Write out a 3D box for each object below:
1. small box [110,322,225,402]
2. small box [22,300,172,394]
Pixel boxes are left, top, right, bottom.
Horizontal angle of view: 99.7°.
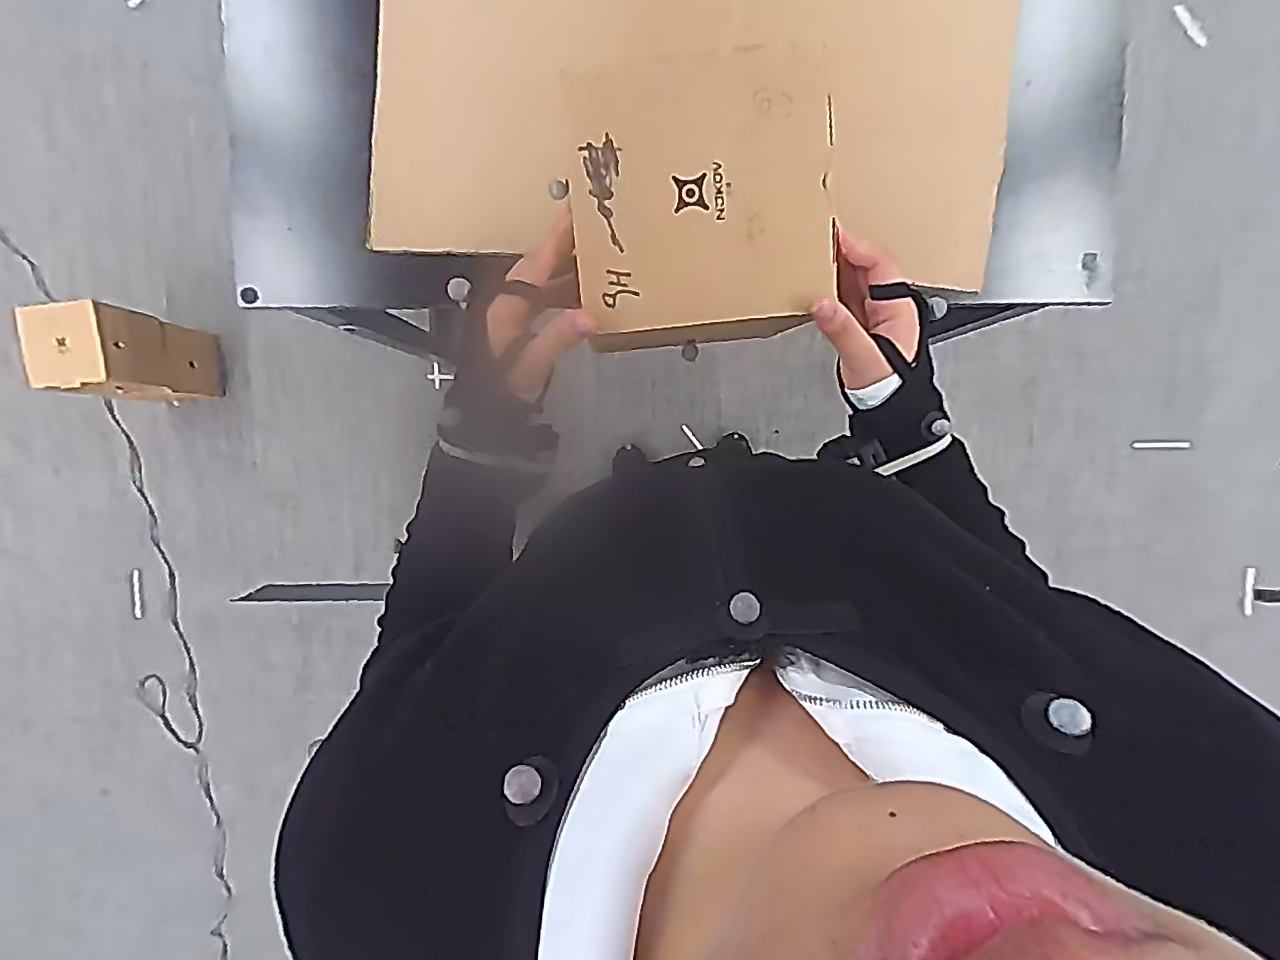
[{"bbox_3d":[-1.222,-0.299,1.397,0.168,0.176,0.179,-5,95,0],"label":"small box"},{"bbox_3d":[-1.223,-0.294,1.234,0.168,0.176,0.179,-7,93,0],"label":"small box"}]
